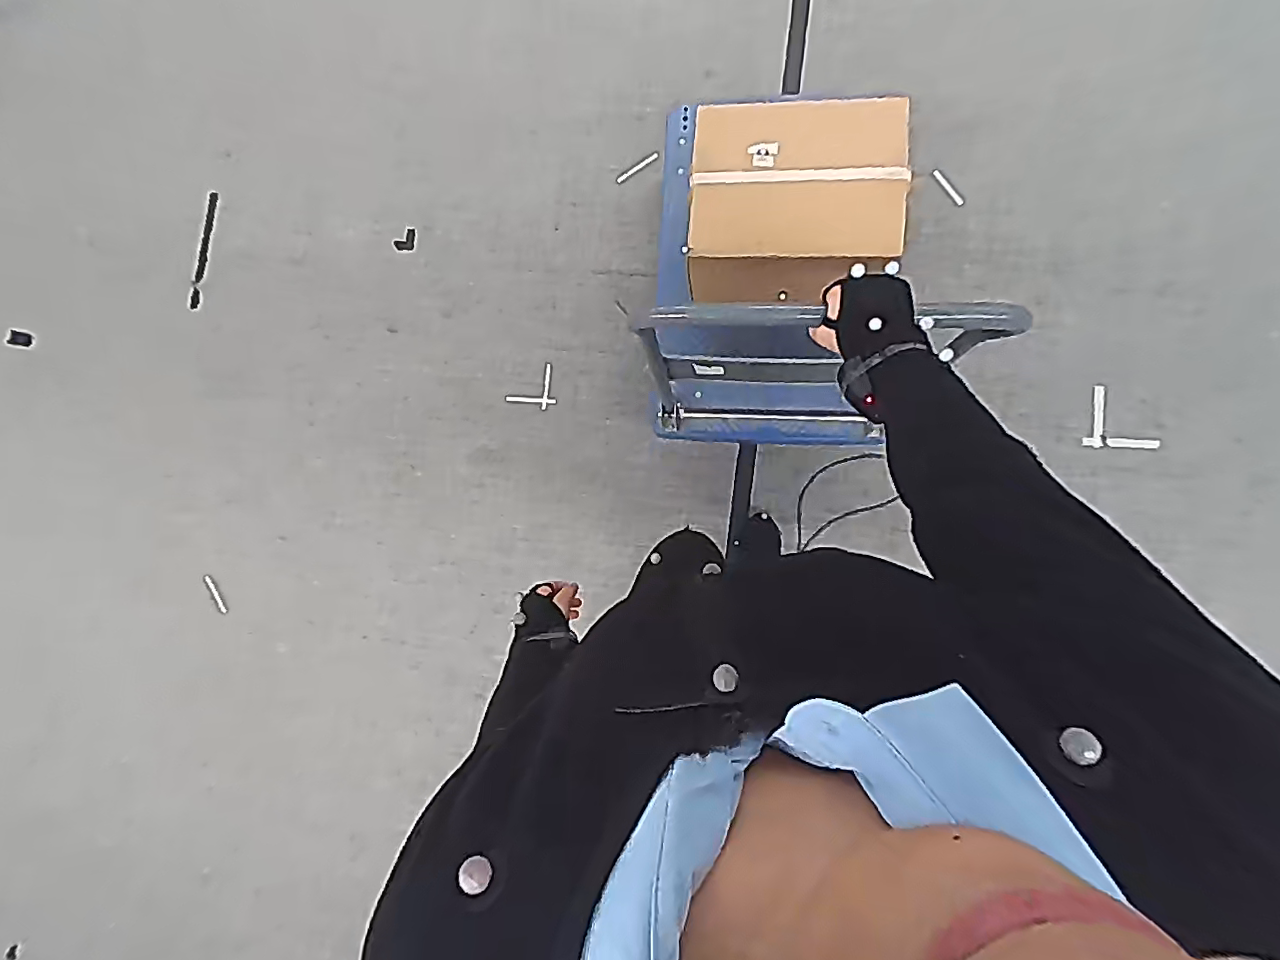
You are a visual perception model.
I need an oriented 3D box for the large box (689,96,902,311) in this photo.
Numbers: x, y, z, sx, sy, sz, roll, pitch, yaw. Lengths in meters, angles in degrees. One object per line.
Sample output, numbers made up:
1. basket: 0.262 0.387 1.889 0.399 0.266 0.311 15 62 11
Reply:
1. large box: 0.328 -0.581 1.205 0.408 0.320 0.320 3 86 10
